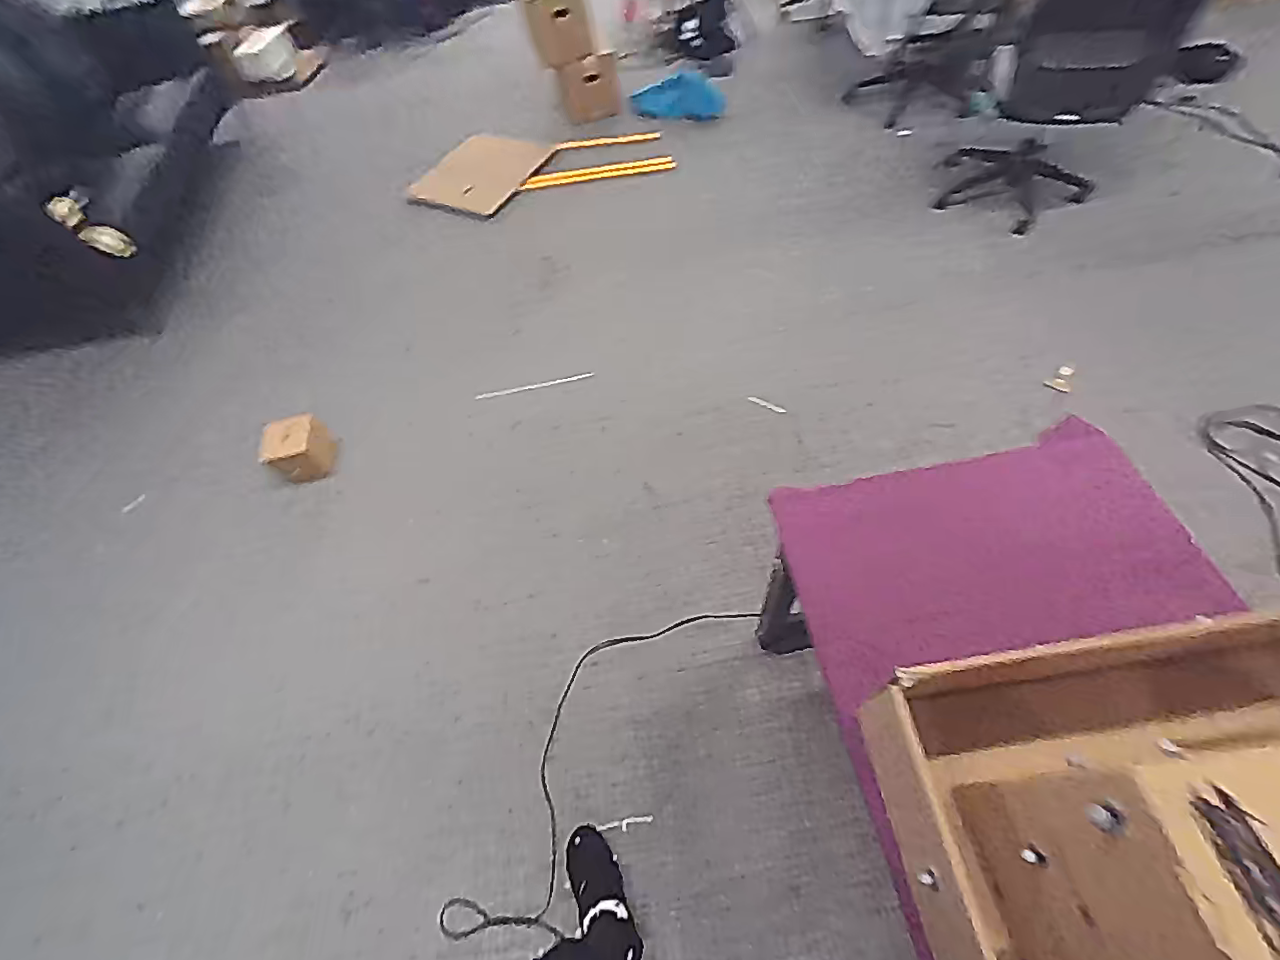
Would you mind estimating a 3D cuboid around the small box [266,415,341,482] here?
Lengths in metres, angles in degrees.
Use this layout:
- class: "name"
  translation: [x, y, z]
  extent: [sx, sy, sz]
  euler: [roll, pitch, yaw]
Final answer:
- class: "small box"
  translation: [-1.236, -0.107, 2.000]
  extent: [0.168, 0.176, 0.179]
  euler: [-13, 57, -3]

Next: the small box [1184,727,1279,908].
- class: "small box"
  translation: [0.749, 0.342, 0.556]
  extent: [0.179, 0.176, 0.168]
  euler: [-12, 58, 1]
